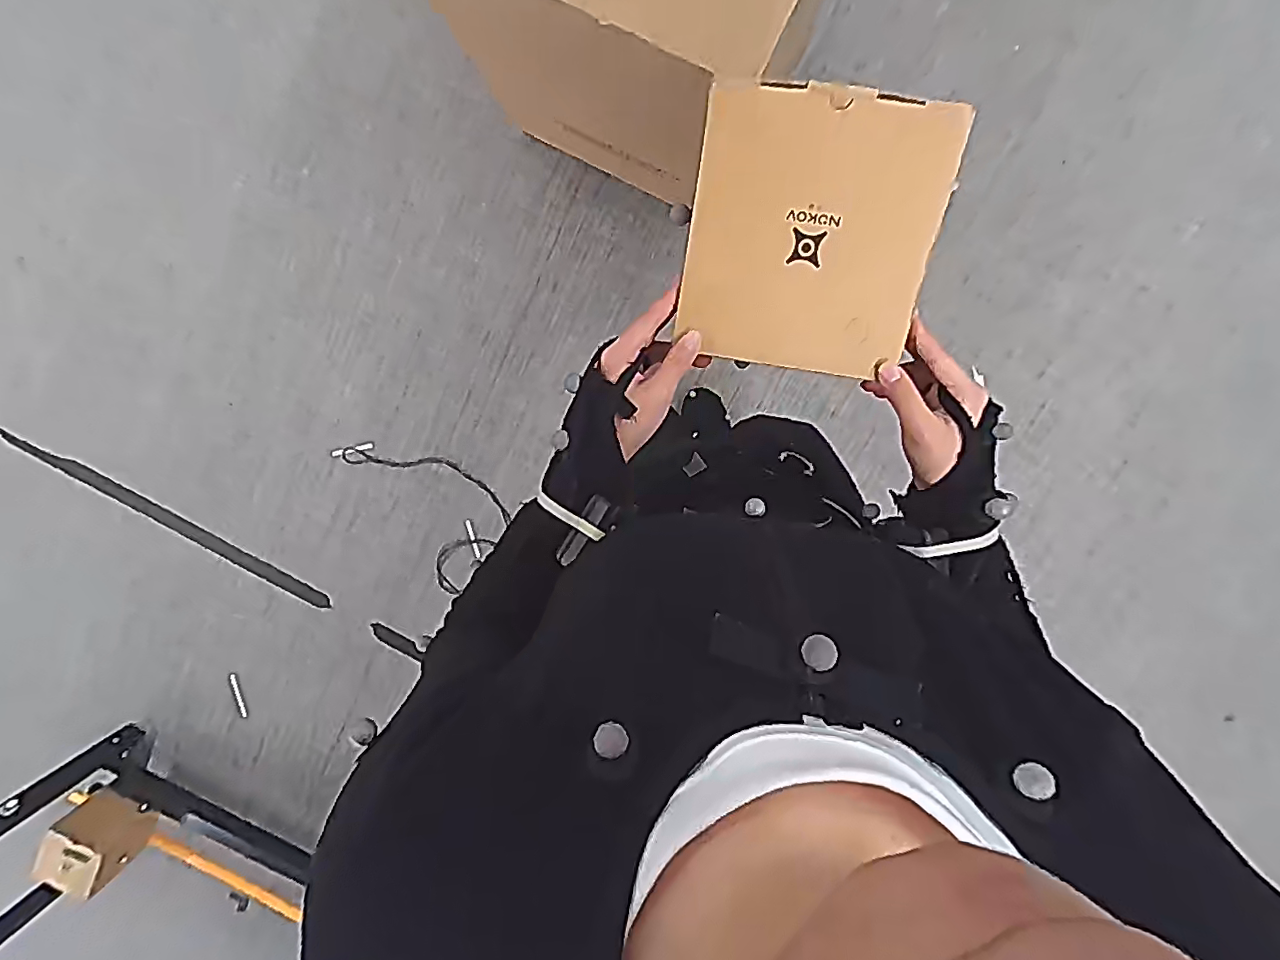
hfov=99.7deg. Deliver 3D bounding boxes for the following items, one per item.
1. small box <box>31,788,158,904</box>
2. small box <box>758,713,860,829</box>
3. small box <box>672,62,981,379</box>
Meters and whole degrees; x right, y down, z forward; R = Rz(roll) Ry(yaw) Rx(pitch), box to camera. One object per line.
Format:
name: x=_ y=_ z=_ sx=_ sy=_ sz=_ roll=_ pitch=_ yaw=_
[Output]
small box: x=-1.495 y=1.001 z=1.493 sx=0.168 sy=0.176 sz=0.179 roll=28 pitch=102 yaw=-2
small box: x=0.425 y=0.738 z=1.390 sx=0.179 sy=0.176 sz=0.168 roll=26 pitch=101 yaw=0
small box: x=0.124 y=-0.192 z=0.432 sx=0.168 sy=0.176 sz=0.179 roll=9 pitch=110 yaw=4
